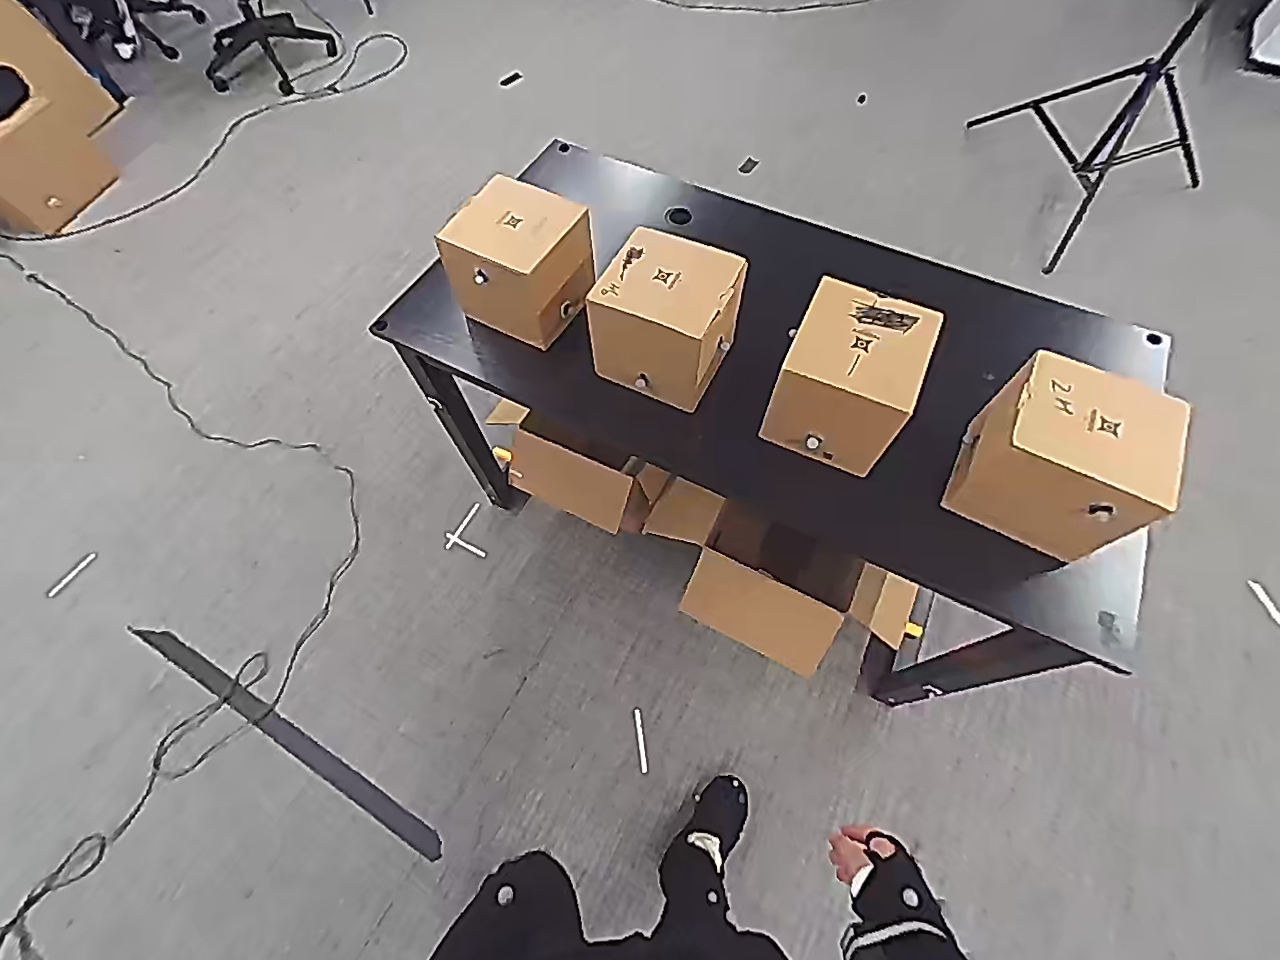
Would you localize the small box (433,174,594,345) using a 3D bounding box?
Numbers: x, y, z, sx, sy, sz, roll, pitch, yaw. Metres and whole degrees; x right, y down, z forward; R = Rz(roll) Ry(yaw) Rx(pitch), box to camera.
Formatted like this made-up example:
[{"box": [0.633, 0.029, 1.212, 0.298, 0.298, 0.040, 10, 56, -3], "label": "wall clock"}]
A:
[{"box": [-0.192, -0.350, 0.876, 0.179, 0.176, 0.168, 27, 67, 13], "label": "small box"}]

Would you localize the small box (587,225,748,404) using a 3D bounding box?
[{"box": [0.041, -0.241, 0.817, 0.179, 0.176, 0.168, 24, 65, 12], "label": "small box"}]

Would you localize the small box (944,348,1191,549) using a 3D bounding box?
[{"box": [0.537, -0.031, 0.698, 0.179, 0.176, 0.168, 27, 65, 15], "label": "small box"}]

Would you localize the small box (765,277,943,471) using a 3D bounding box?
[{"box": [0.289, -0.144, 0.762, 0.168, 0.176, 0.179, 23, 66, 12], "label": "small box"}]
